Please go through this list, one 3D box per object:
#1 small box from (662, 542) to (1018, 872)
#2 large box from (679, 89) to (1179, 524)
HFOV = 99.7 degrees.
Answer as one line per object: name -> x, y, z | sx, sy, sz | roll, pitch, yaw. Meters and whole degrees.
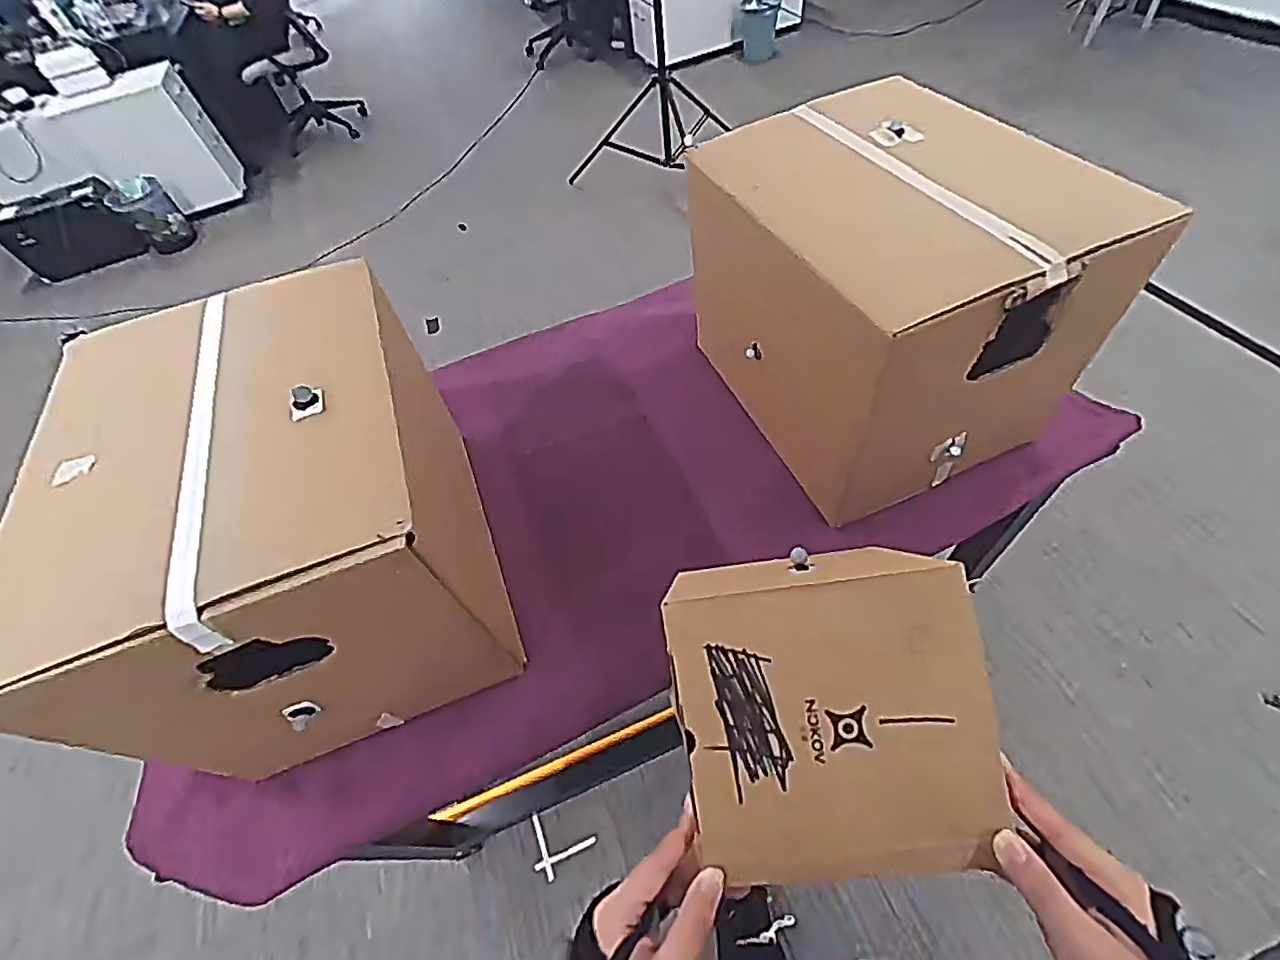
small box -> 0.118, 0.138, 0.386 | 0.179, 0.176, 0.168 | -9, 85, 5
large box -> 0.284, -0.223, 0.687 | 0.320, 0.320, 0.408 | -22, 53, -8
